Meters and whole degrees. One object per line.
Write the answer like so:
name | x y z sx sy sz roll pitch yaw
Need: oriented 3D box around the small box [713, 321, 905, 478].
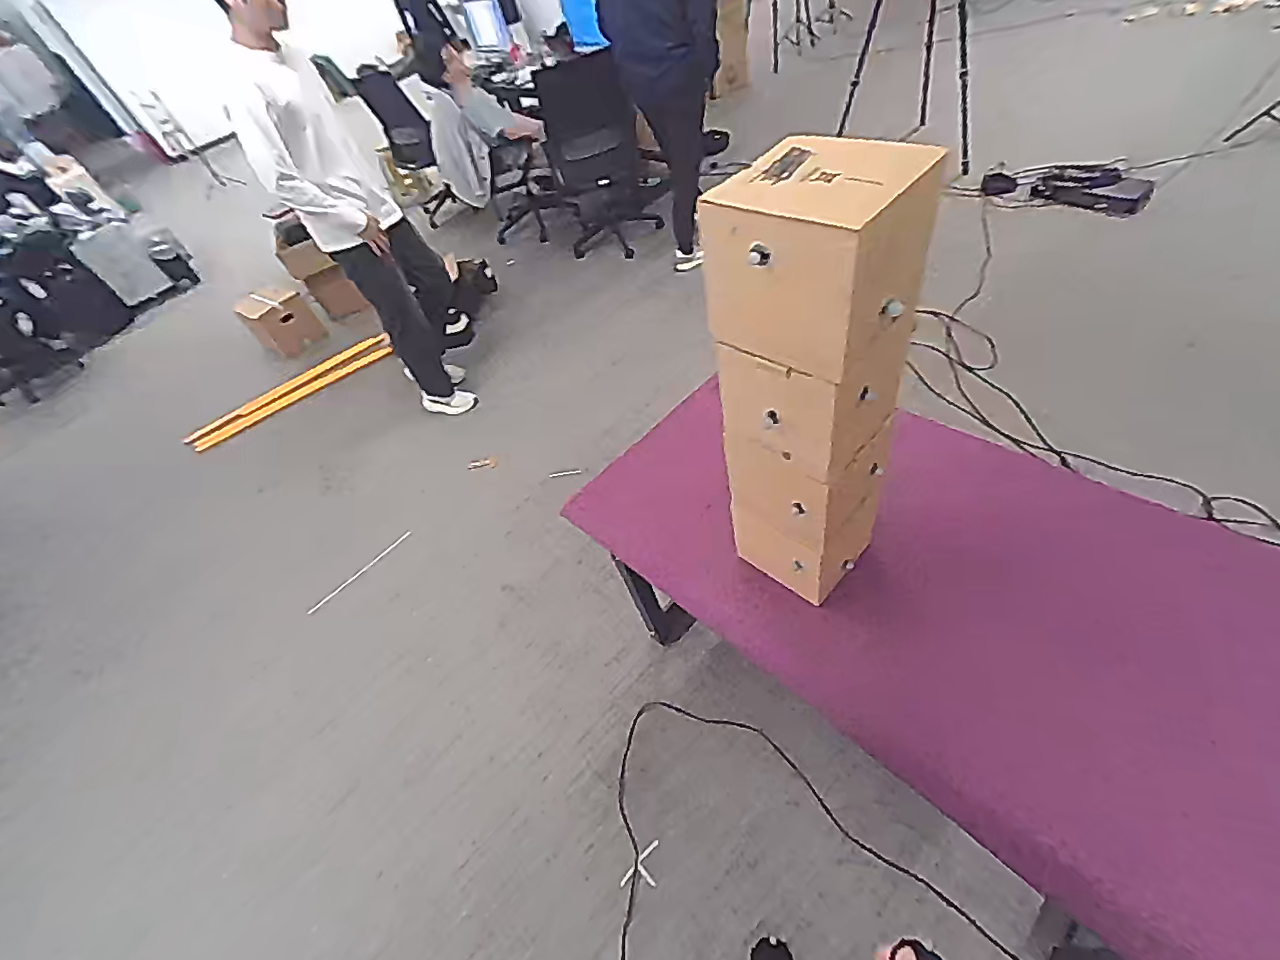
small box | 0.220 -0.133 0.704 0.168 0.176 0.179 31 64 34

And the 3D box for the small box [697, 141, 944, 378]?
small box | 0.184 -0.236 0.581 0.179 0.176 0.168 31 63 34

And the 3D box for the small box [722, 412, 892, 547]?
small box | 0.250 -0.024 0.822 0.168 0.176 0.179 -42 52 -21
